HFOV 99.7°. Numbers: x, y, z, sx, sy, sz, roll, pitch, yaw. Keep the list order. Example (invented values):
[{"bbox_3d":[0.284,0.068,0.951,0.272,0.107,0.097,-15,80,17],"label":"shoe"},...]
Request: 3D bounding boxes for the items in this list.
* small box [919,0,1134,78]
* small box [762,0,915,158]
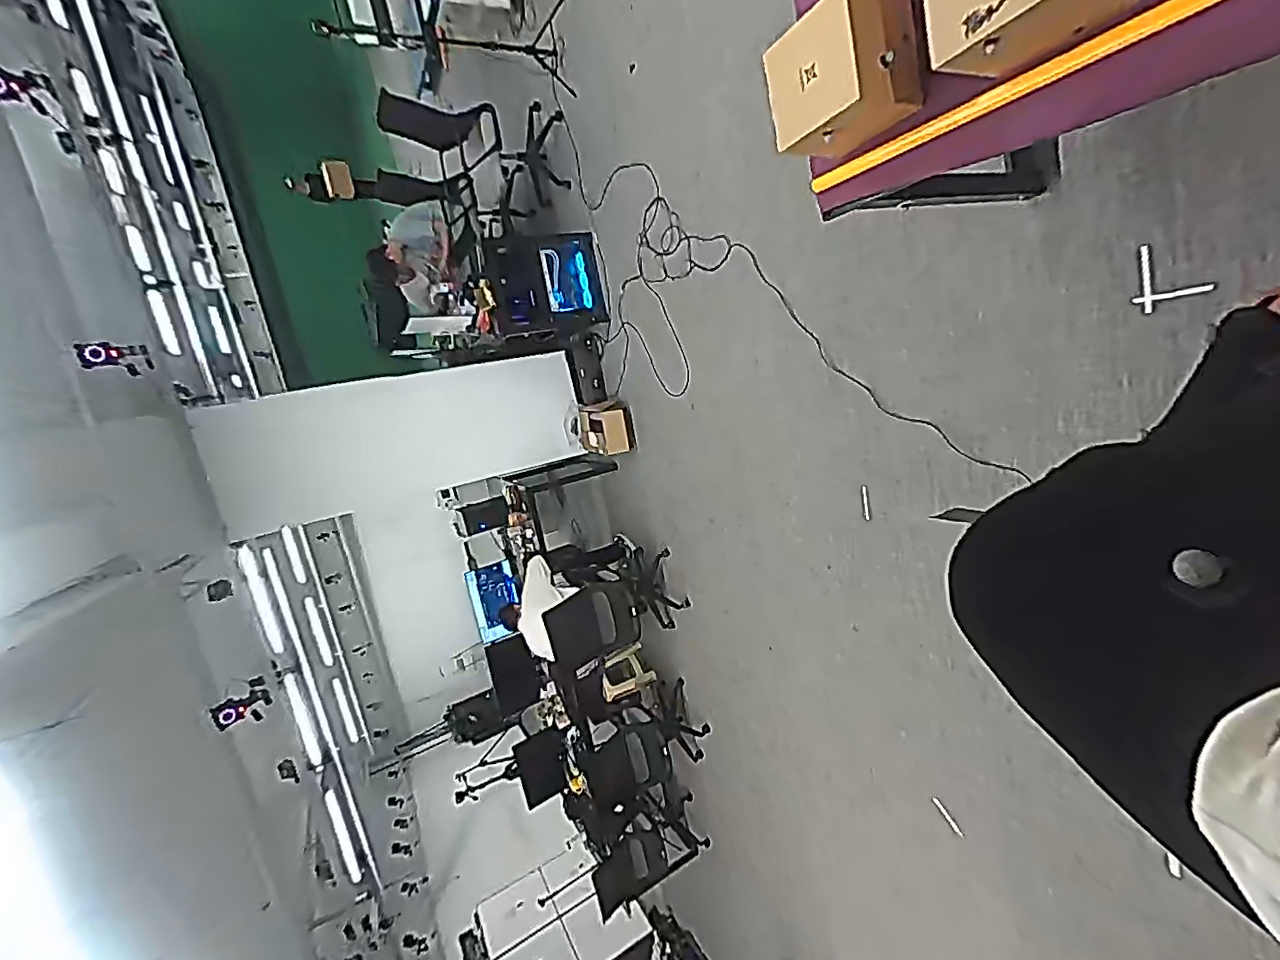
[{"bbox_3d":[0.471,-0.635,0.663,0.168,0.176,0.179,10,113,63],"label":"small box"},{"bbox_3d":[0.337,-0.668,0.908,0.179,0.176,0.168,5,109,61],"label":"small box"}]
